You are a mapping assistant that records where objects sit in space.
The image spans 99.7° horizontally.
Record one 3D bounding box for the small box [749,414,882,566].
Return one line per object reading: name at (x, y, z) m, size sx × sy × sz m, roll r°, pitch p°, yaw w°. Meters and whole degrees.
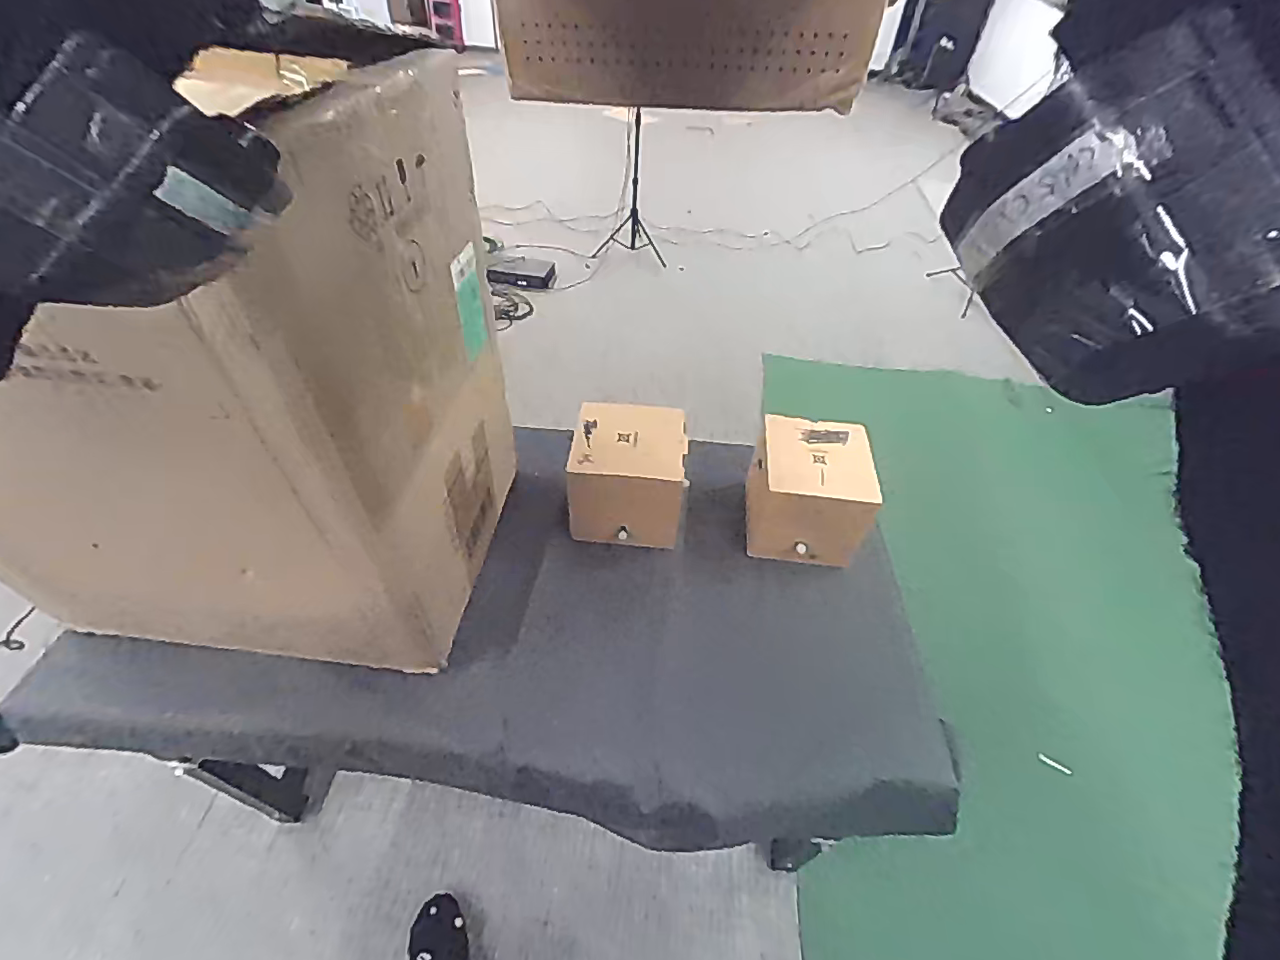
small box at (0.278, 0.017, 0.902) m, size 0.168 × 0.176 × 0.179 m, roll 7°, pitch 47°, yaw 3°
